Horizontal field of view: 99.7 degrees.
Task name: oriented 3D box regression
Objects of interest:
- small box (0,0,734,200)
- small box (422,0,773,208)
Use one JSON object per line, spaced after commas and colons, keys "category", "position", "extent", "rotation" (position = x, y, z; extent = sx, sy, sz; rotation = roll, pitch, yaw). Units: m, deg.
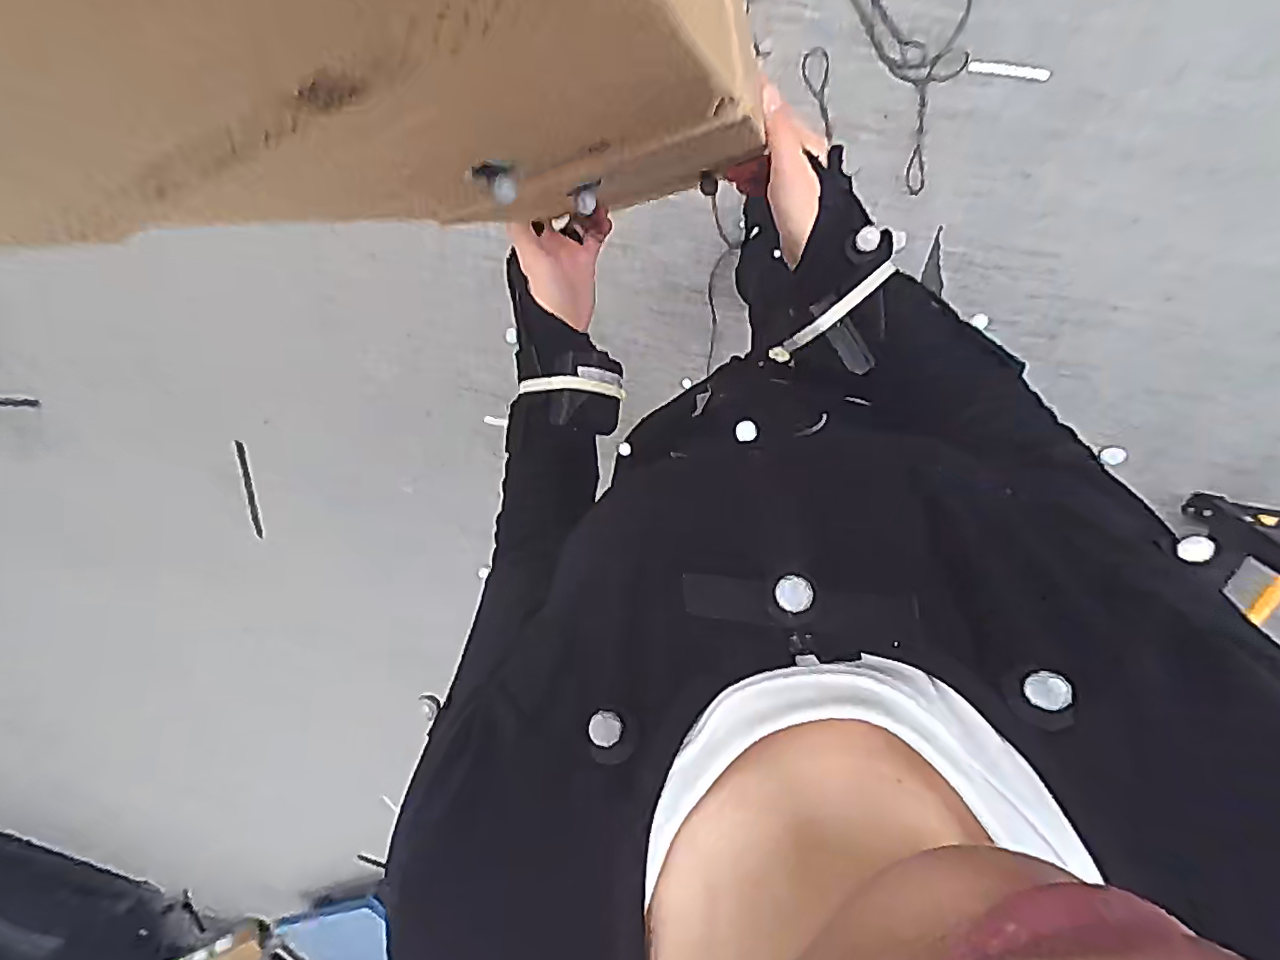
{"category": "small box", "position": [-0.076, -0.196, 0.153], "extent": [0.168, 0.176, 0.179], "rotation": [-9, 113, 21]}
{"category": "small box", "position": [-0.030, -0.258, 0.296], "extent": [0.179, 0.176, 0.168], "rotation": [-8, 113, 19]}
